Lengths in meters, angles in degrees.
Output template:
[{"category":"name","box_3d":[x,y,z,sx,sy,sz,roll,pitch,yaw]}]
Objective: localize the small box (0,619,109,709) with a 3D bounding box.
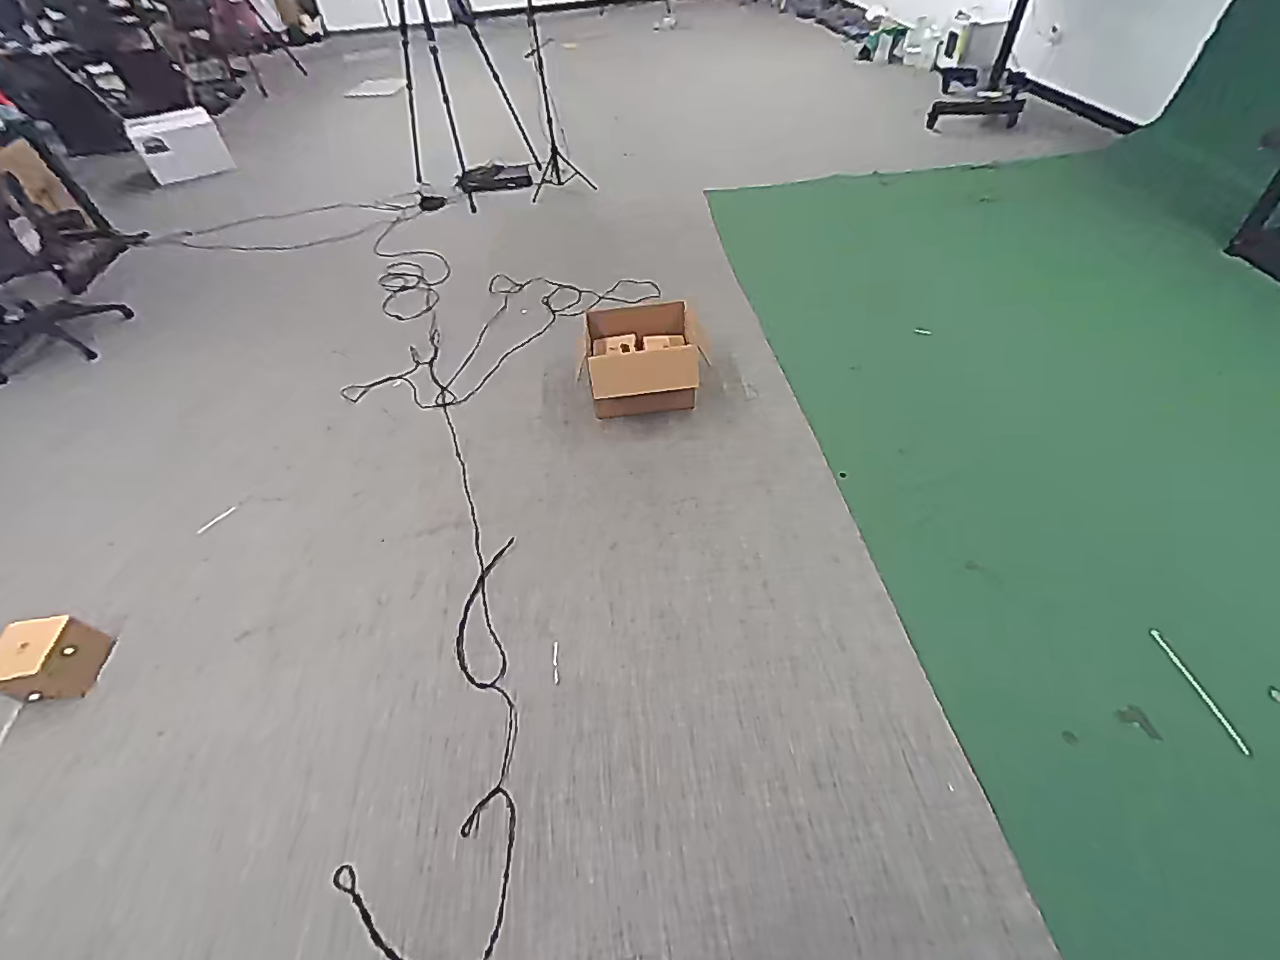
[{"category":"small box","box_3d":[-1.666,0.518,1.518,0.168,0.176,0.179,-8,50,-4]}]
